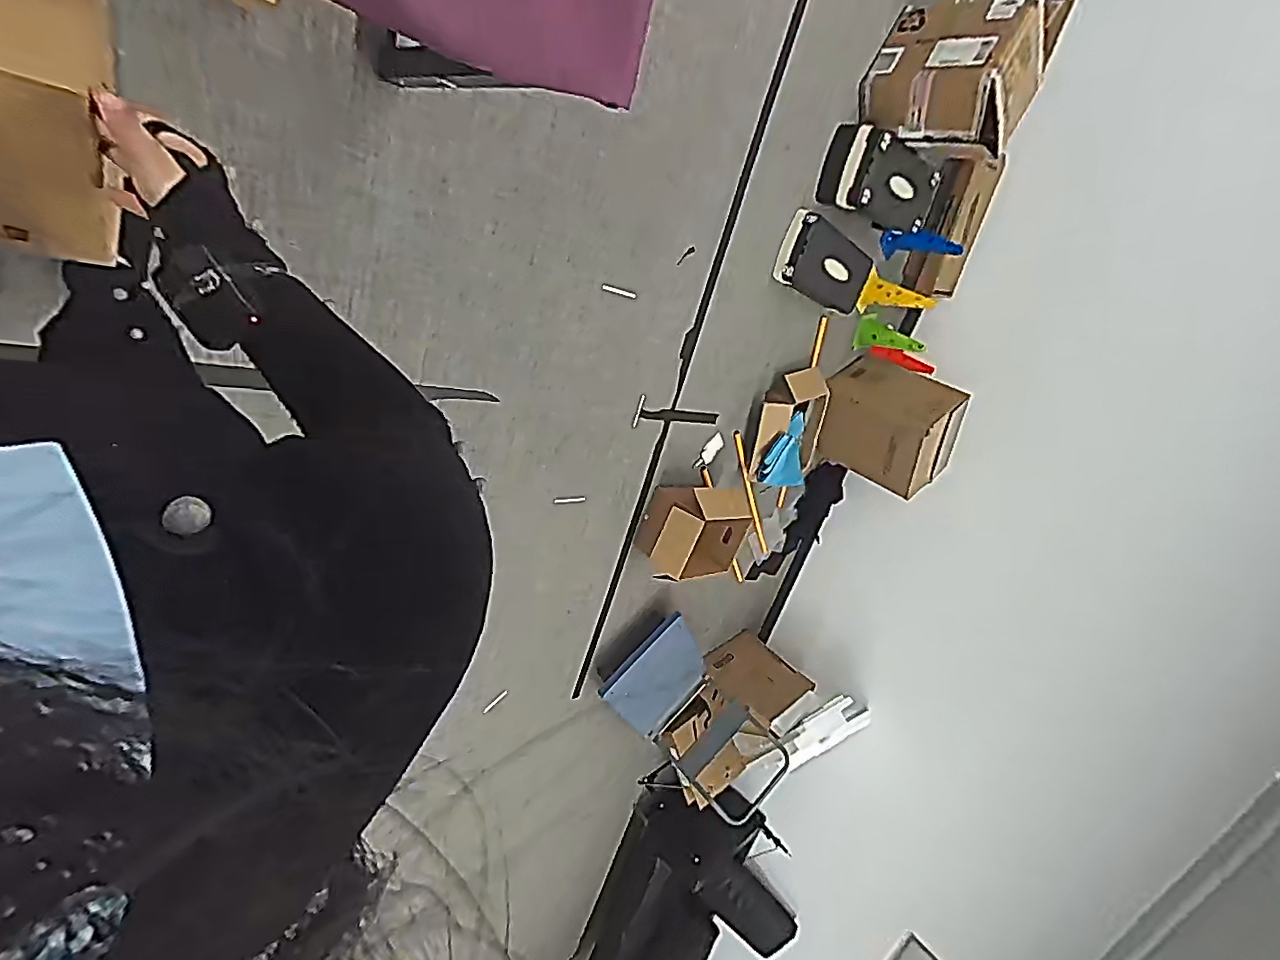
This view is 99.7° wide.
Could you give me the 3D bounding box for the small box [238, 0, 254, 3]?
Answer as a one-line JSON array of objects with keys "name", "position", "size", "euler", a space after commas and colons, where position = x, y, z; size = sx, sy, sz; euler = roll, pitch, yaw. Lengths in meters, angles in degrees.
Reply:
[{"name": "small box", "position": [-0.675, -0.889, 0.837], "size": [0.168, 0.176, 0.179], "euler": [0, 116, -48]}]
